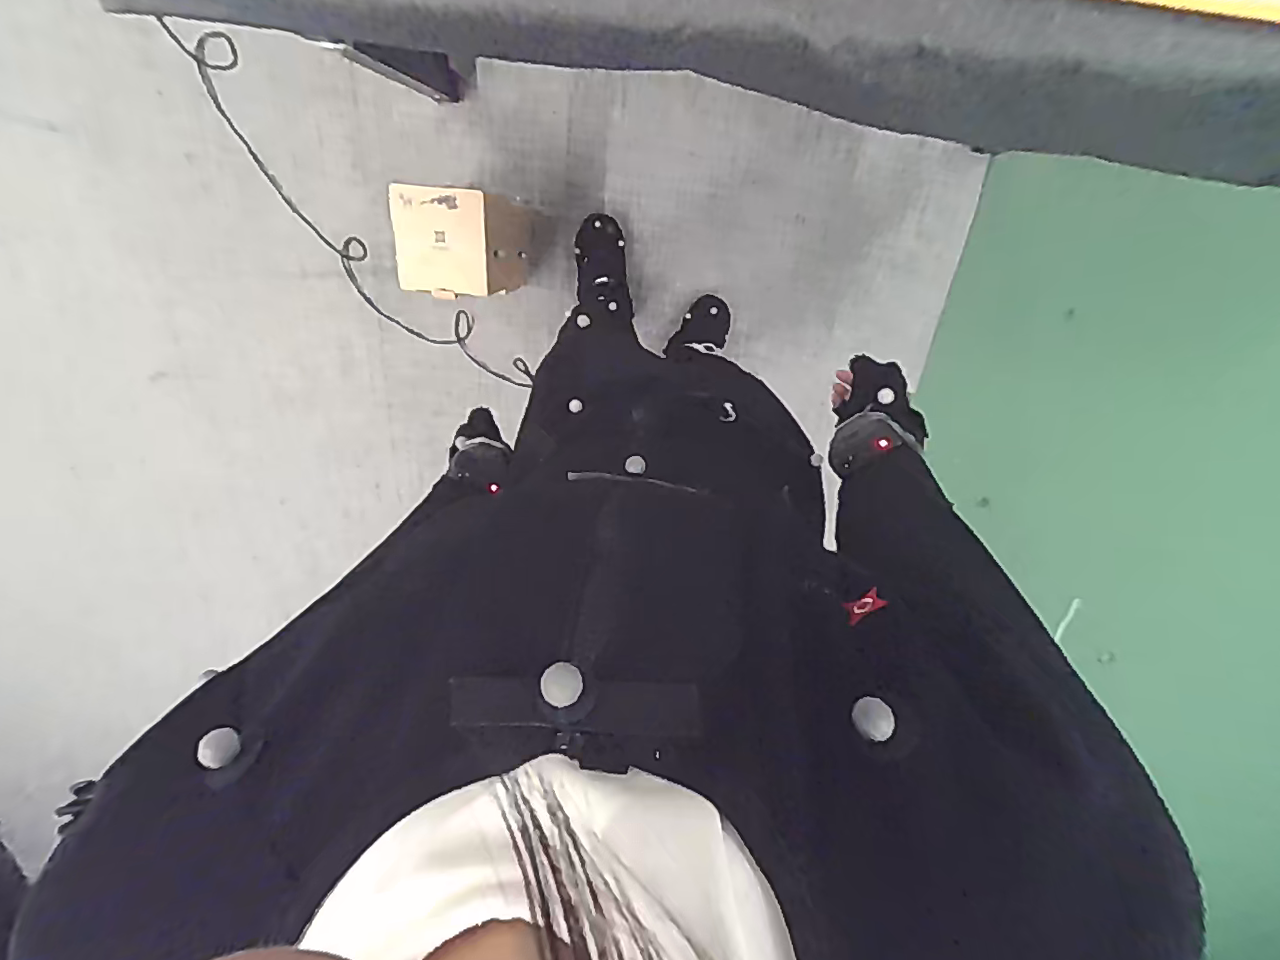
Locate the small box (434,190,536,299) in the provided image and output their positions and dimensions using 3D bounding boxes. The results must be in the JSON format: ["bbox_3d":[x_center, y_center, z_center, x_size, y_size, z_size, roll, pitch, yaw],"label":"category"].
[{"bbox_3d":[-0.331,-0.513,1.177,0.168,0.176,0.179,14,116,-3],"label":"small box"}]
